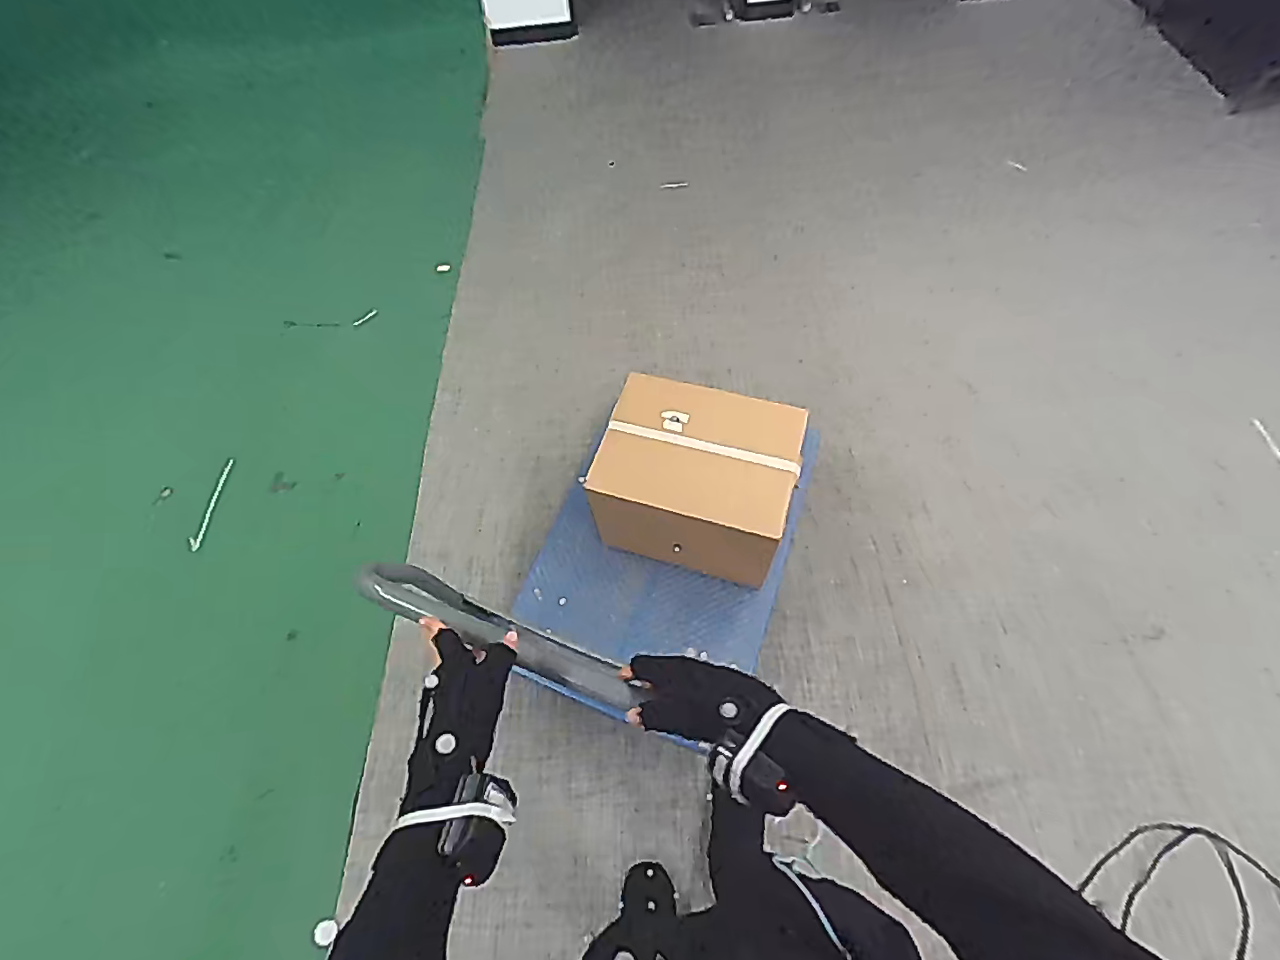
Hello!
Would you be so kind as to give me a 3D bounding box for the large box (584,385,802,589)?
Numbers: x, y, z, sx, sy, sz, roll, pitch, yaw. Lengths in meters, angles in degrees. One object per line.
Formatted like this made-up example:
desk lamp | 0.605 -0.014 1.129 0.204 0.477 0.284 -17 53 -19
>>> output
large box | 0.131 0.023 1.264 0.408 0.320 0.320 14 63 13
